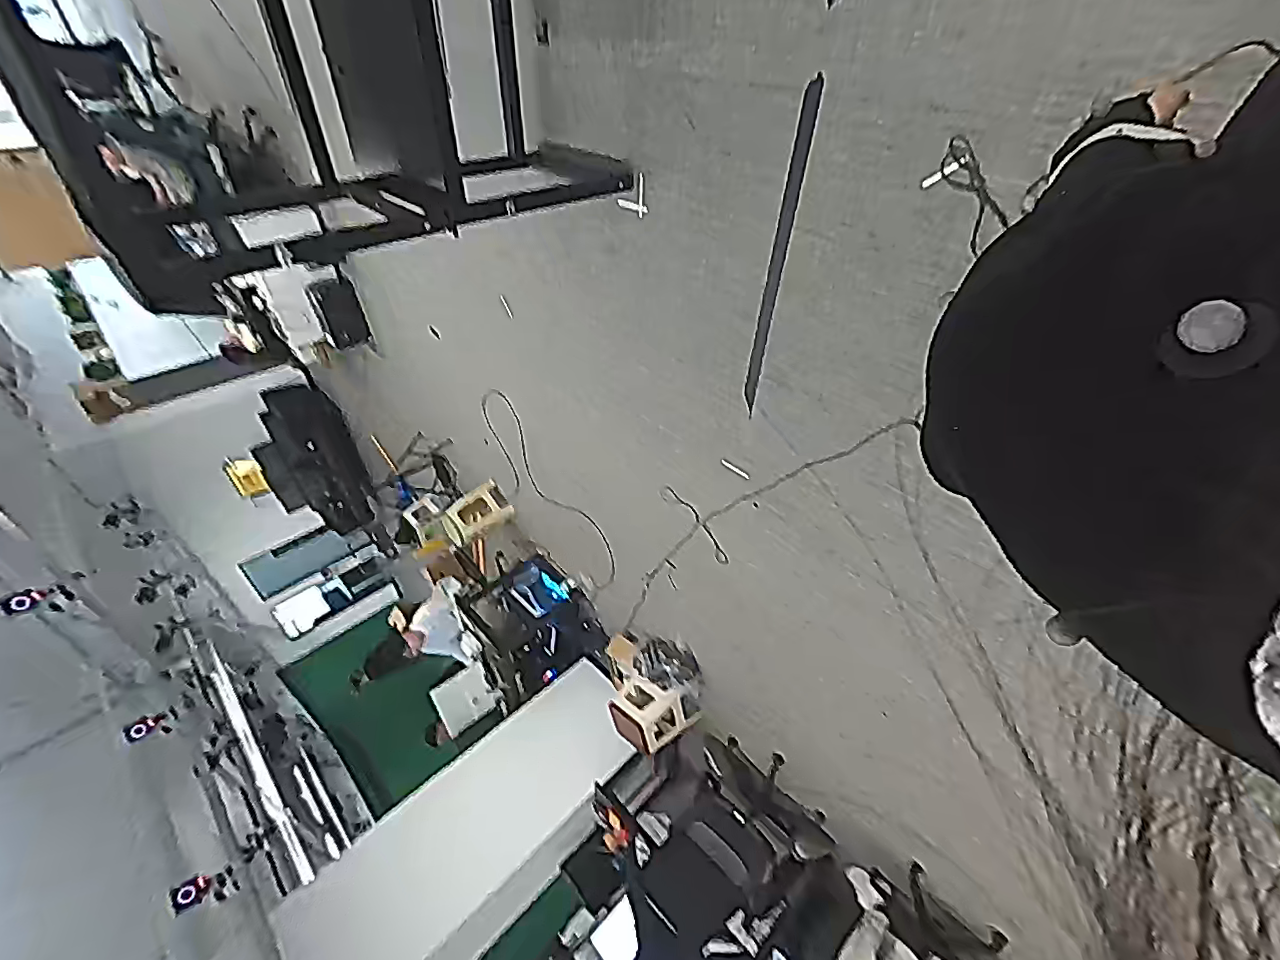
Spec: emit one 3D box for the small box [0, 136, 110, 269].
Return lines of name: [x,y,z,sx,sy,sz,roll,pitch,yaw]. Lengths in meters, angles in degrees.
small box: [-1.200,-0.549,1.062,0.168,0.176,0.179,44,145,26]
